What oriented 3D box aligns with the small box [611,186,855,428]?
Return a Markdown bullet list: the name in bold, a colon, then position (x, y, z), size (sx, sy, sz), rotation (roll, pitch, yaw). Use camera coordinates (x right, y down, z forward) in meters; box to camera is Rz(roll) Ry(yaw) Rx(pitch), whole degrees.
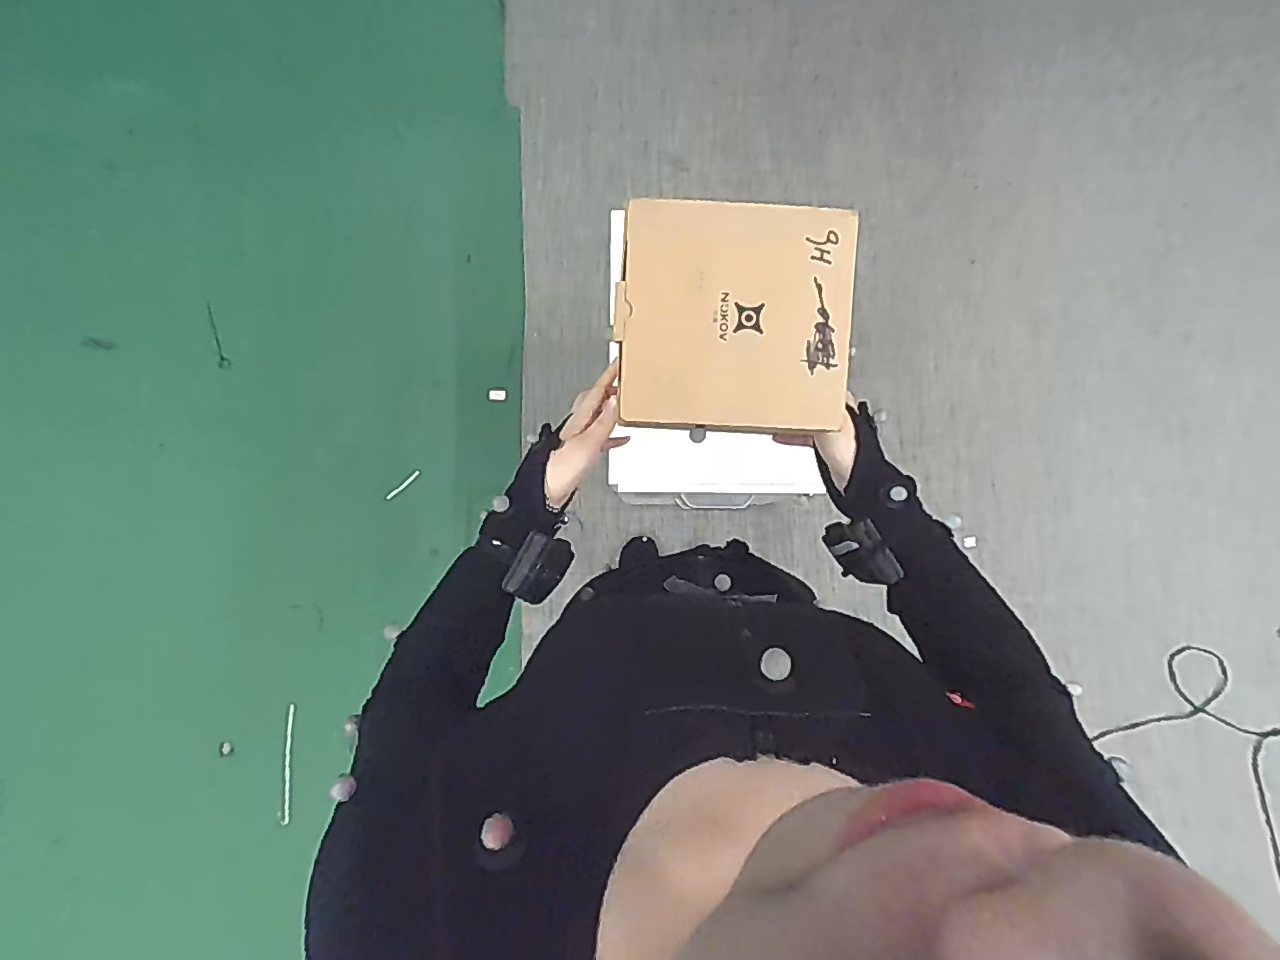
- **small box**: position (0.068, -0.136, 0.485), size (0.179, 0.176, 0.168), rotation (3, 93, -2)
